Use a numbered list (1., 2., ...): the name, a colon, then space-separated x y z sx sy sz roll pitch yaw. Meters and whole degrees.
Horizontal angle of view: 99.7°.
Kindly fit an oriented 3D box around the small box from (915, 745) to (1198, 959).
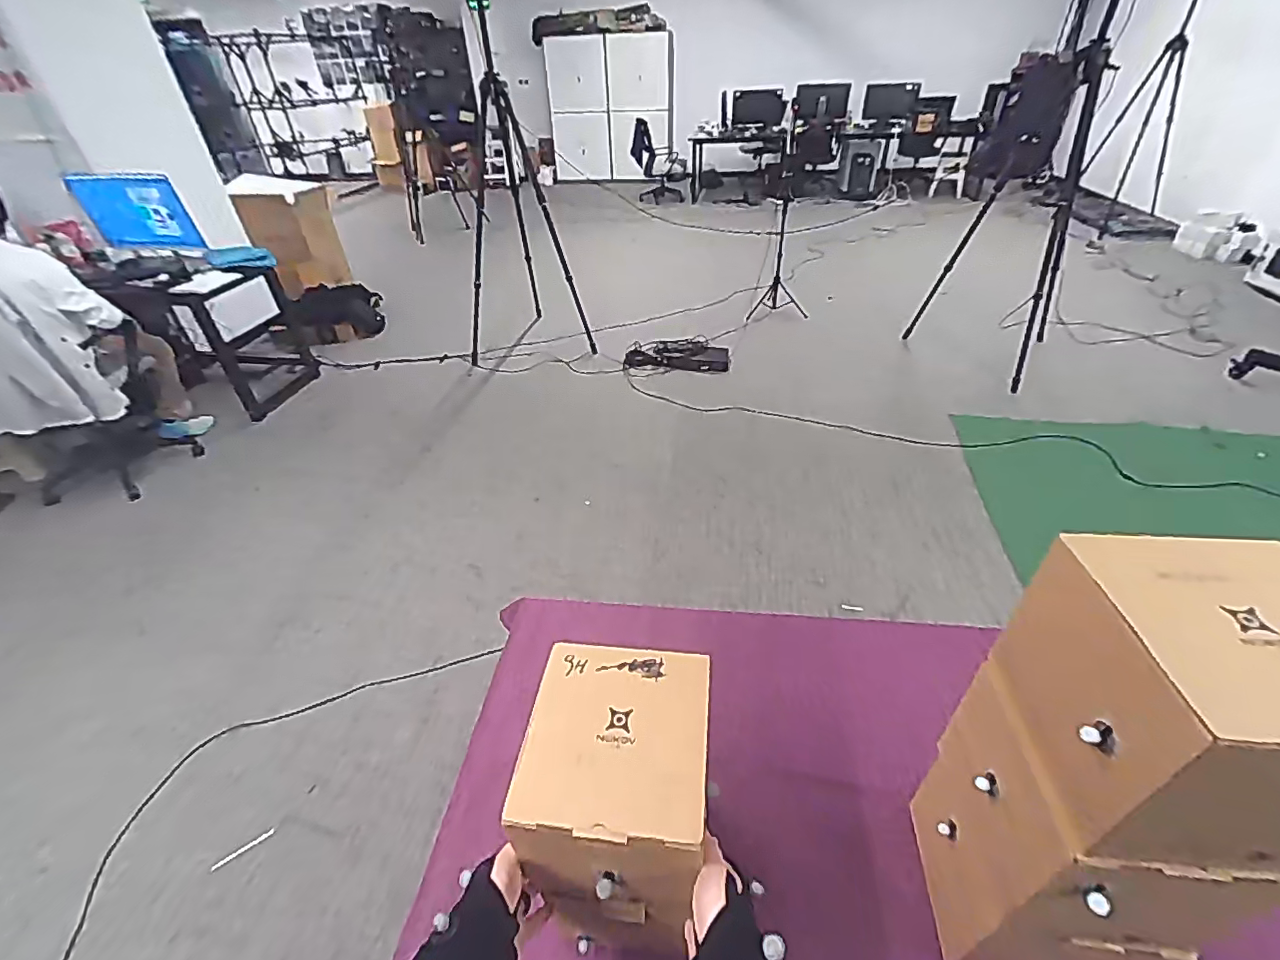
1. small box: 0.426 0.430 0.599 0.168 0.176 0.179 3 38 9

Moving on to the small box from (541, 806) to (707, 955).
1. small box: -0.005 0.425 0.639 0.168 0.176 0.179 2 37 6

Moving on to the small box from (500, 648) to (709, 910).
1. small box: -0.017 0.294 0.537 0.168 0.176 0.179 2 39 8

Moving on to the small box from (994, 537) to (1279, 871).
1. small box: 0.410 0.164 0.407 0.168 0.176 0.179 2 37 6
